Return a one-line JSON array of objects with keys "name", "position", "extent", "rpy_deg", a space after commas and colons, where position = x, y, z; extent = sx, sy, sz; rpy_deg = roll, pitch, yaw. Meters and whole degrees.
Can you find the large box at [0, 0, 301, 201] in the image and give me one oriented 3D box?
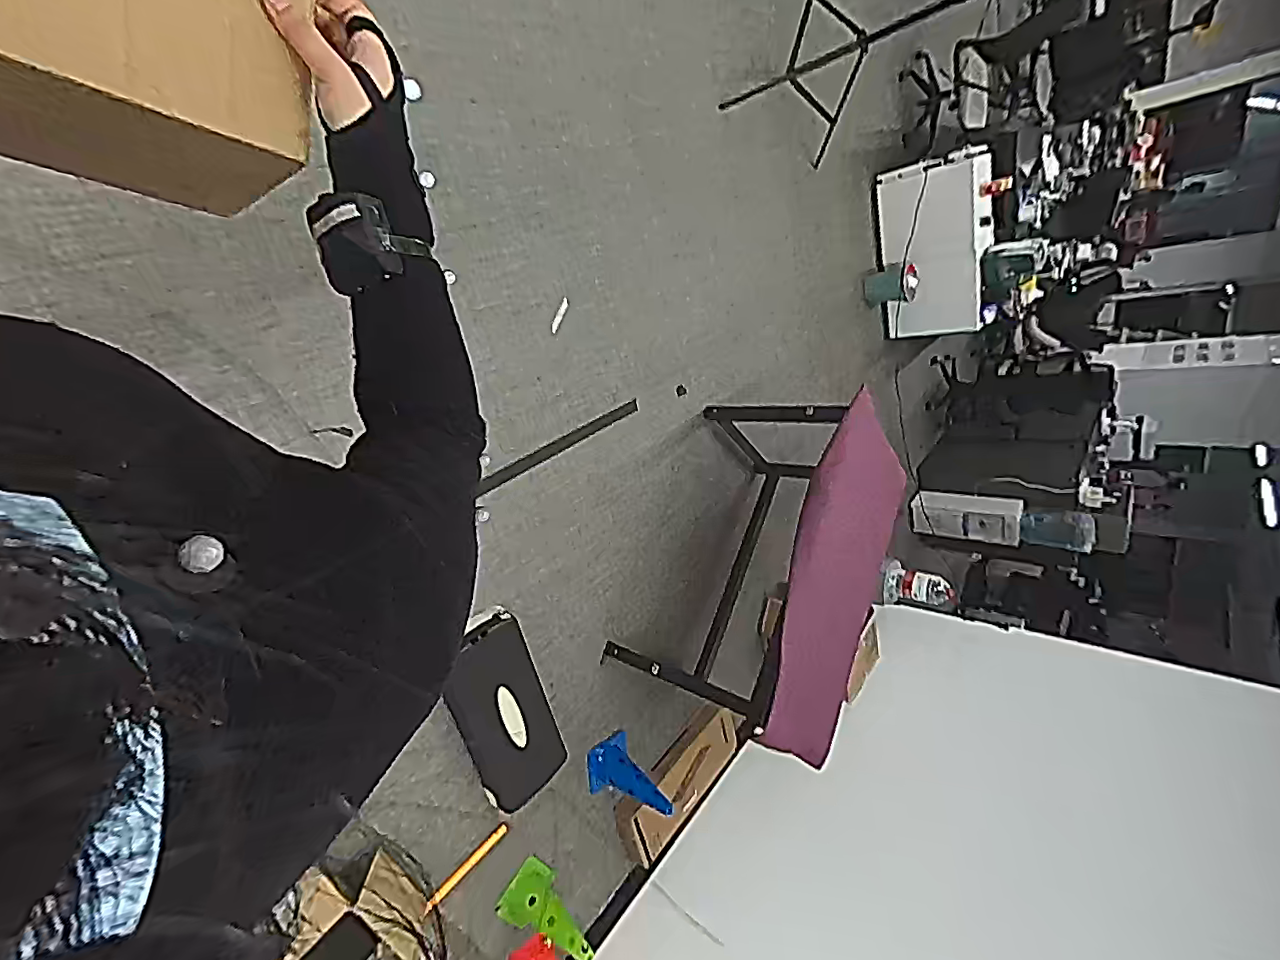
[{"name": "large box", "position": [-0.485, -0.423, 0.351], "extent": [0.408, 0.320, 0.320], "rpy_deg": [-2, 102, -45]}]
